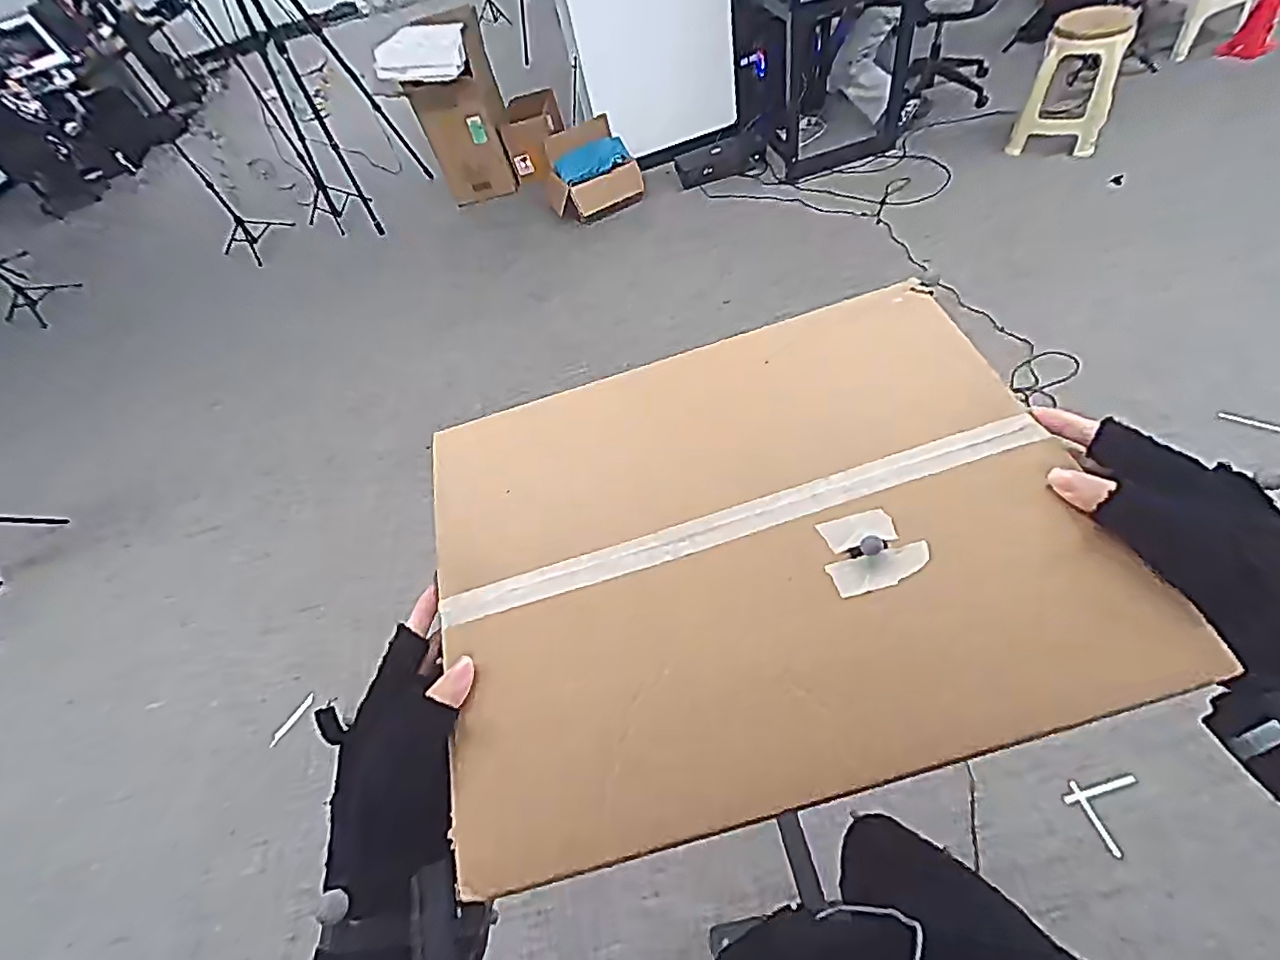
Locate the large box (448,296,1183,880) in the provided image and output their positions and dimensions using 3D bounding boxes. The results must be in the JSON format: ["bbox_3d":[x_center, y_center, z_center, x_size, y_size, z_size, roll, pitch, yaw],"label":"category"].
[{"bbox_3d":[0.090,0.107,0.493,0.408,0.320,0.320,-18,59,1],"label":"large box"}]

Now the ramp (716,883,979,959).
[{"bbox_3d":[0.450,1.207,0.746,0.509,0.206,0.991,-17,51,3],"label":"ramp"}]
